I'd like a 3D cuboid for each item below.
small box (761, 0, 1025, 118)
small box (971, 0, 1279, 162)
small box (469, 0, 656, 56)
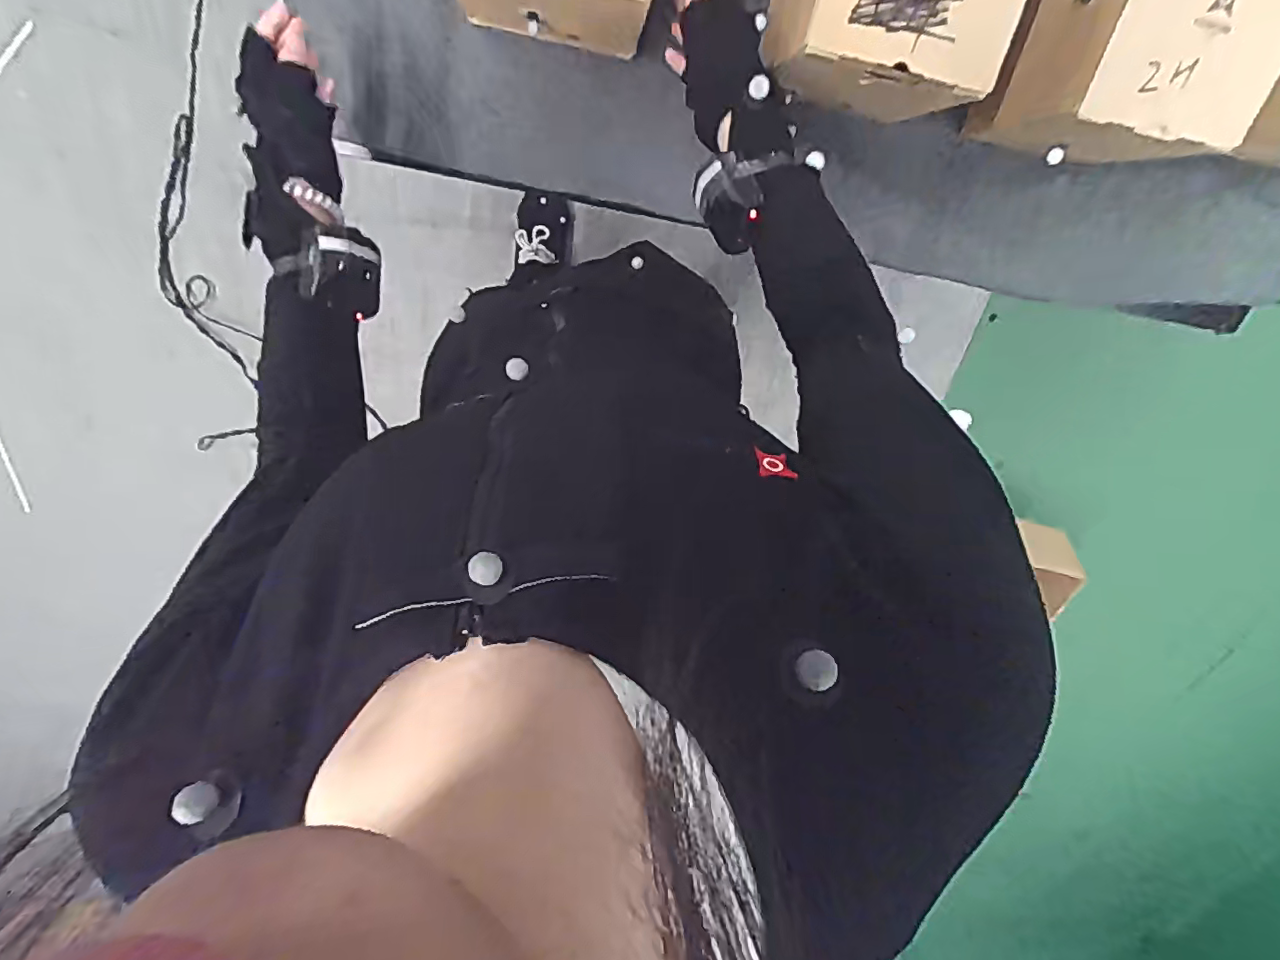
[{"bbox_3d":[0.219,-0.441,0.473,0.168,0.176,0.179,7,116,-9],"label":"small box"},{"bbox_3d":[0.458,-0.416,0.508,0.168,0.176,0.179,6,117,-8],"label":"small box"},{"bbox_3d":[-0.063,-0.476,0.427,0.168,0.176,0.179,5,117,-9],"label":"small box"}]
